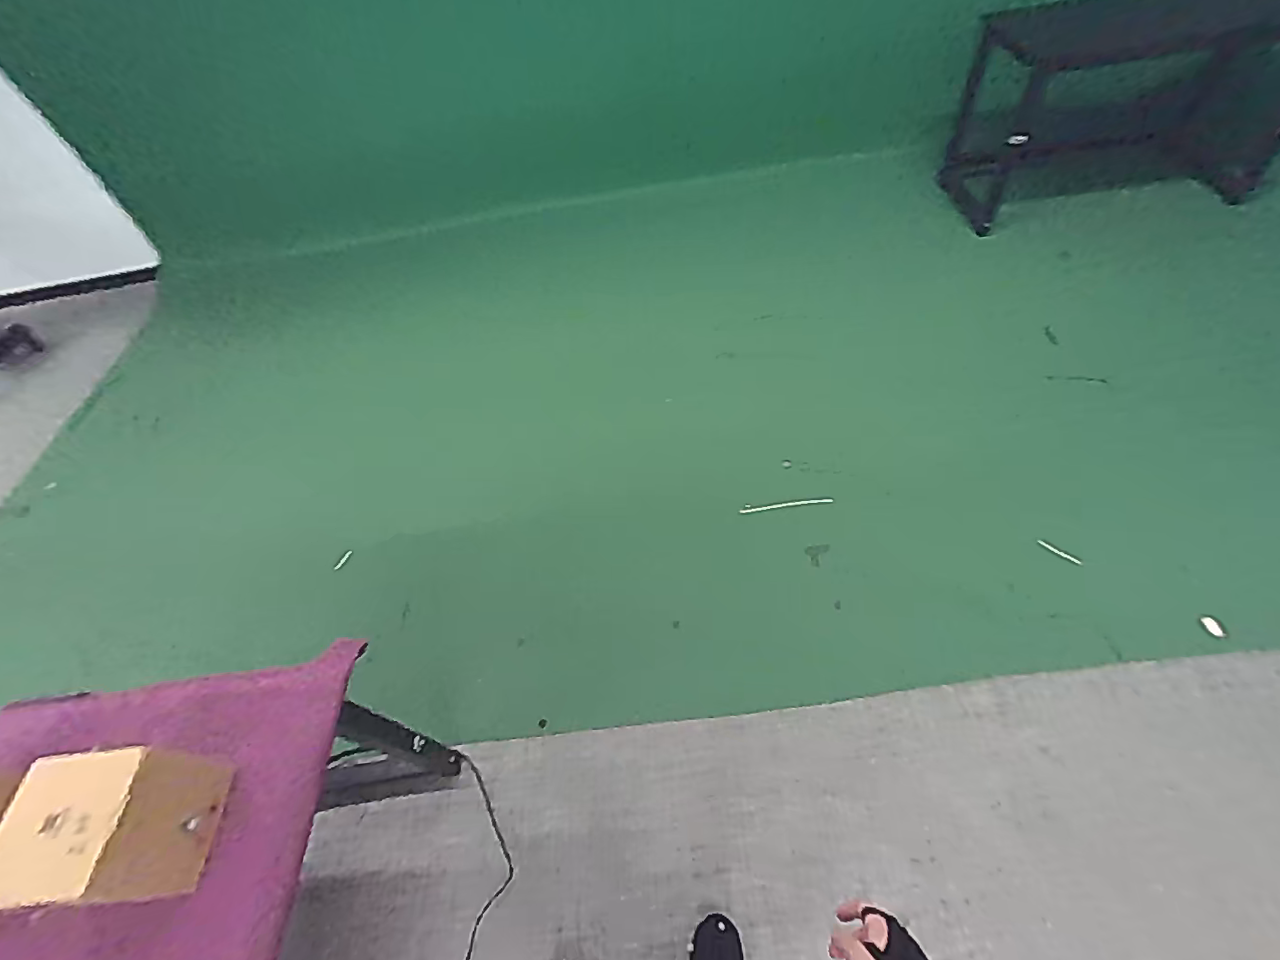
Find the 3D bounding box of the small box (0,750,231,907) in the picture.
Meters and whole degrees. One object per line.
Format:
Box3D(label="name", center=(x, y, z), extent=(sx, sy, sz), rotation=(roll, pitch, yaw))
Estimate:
Box3D(label="small box", center=(-0.740, 0.491, 0.758), extent=(0.179, 0.176, 0.168), rotation=(-8, 53, 5))
